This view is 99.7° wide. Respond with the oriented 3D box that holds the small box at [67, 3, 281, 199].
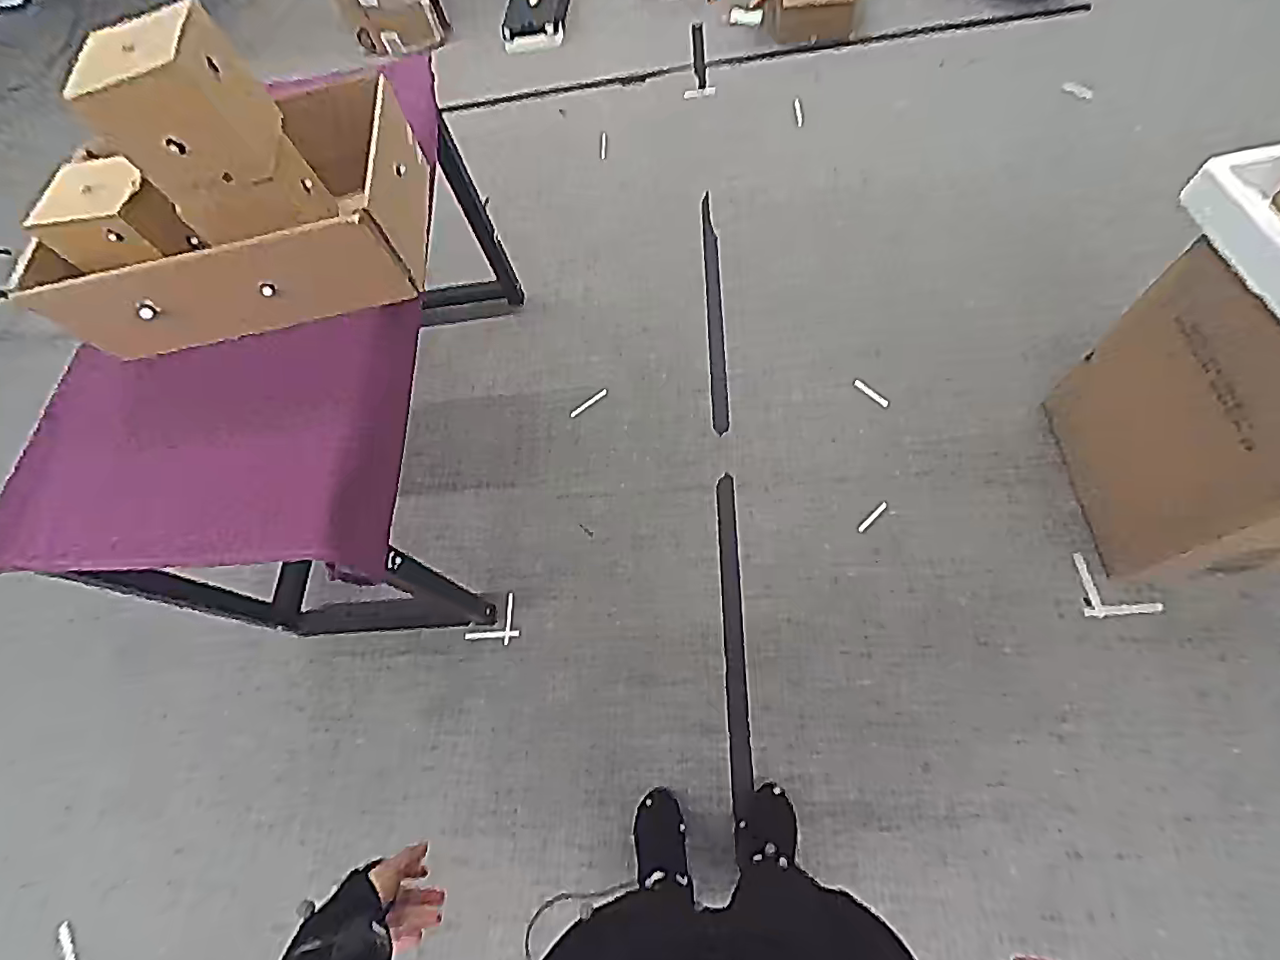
[{"bbox_3d":[-0.681,-0.555,0.815,0.168,0.176,0.179,-16,62,3],"label":"small box"}]
